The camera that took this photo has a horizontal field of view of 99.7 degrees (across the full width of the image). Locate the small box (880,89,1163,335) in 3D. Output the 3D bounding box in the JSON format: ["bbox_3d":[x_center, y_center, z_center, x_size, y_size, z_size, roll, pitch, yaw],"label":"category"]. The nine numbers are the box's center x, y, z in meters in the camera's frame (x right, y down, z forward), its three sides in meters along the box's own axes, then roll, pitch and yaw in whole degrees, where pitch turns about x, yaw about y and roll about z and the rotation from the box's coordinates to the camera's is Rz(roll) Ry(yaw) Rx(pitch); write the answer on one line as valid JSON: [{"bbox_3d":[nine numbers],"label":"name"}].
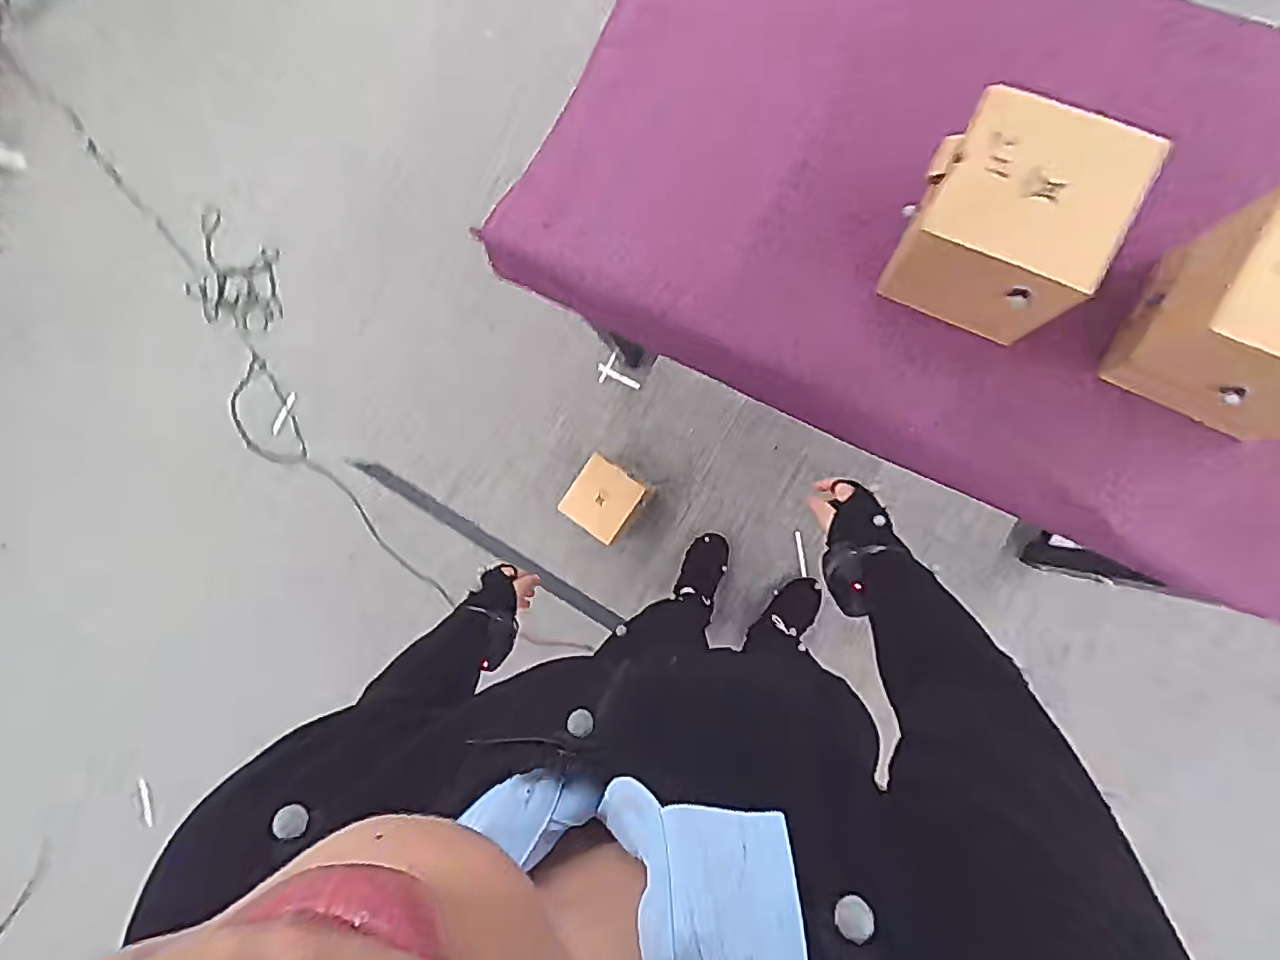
[{"bbox_3d":[0.408,-0.285,0.617,0.179,0.176,0.168,27,91,11],"label":"small box"}]

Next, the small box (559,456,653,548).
[{"bbox_3d":[-0.081,0.059,1.430,0.168,0.176,0.179,34,93,10],"label":"small box"}]
